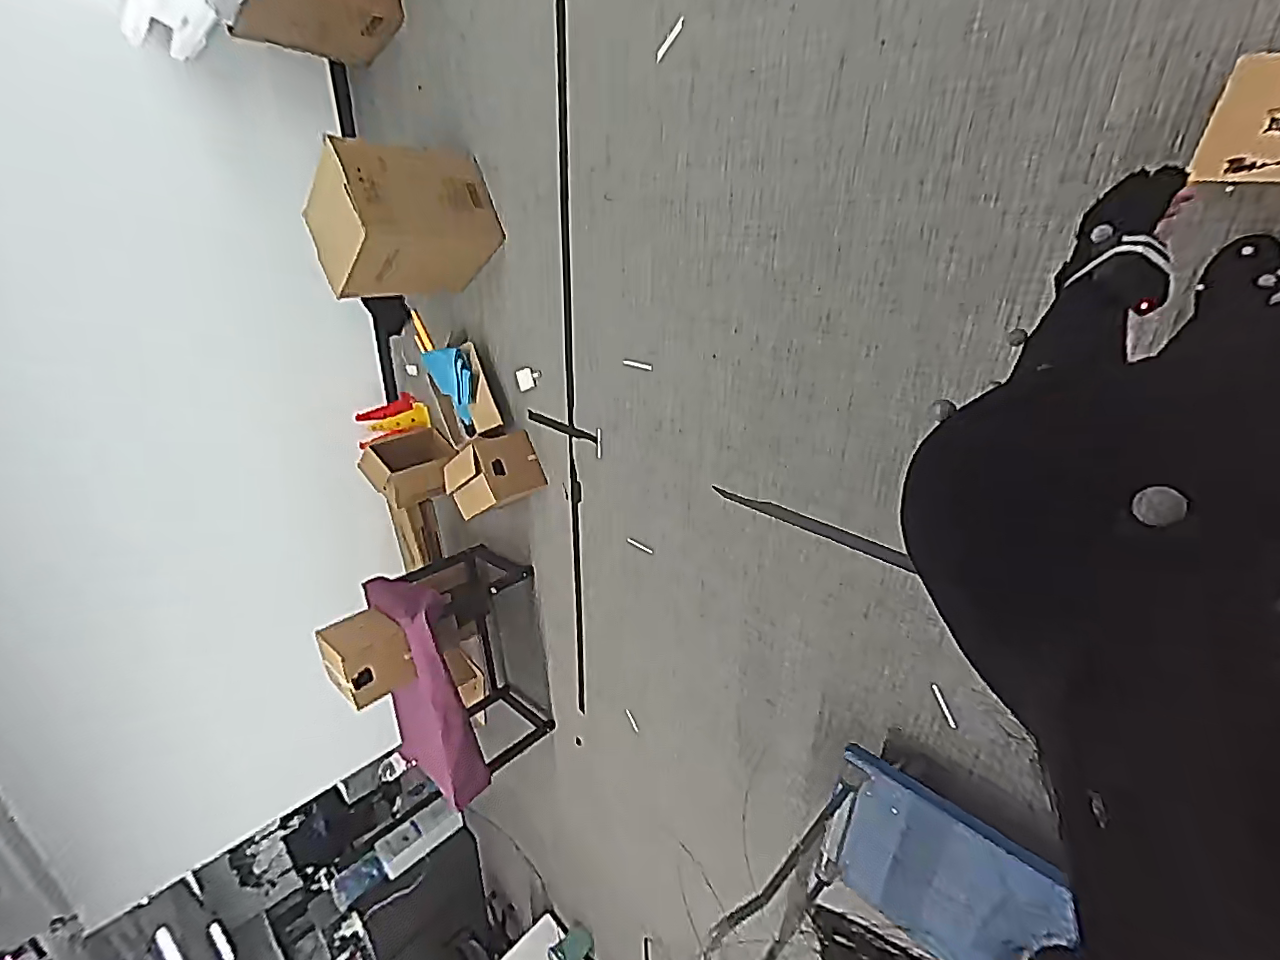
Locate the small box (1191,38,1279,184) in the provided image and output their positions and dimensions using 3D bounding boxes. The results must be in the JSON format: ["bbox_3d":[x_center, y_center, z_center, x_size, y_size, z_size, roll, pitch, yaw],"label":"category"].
[{"bbox_3d":[1.035,-0.586,0.869,0.168,0.176,0.179,27,124,37],"label":"small box"}]

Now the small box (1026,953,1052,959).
[{"bbox_3d":[1.061,1.372,1.381,0.179,0.176,0.168,23,123,39],"label":"small box"}]
